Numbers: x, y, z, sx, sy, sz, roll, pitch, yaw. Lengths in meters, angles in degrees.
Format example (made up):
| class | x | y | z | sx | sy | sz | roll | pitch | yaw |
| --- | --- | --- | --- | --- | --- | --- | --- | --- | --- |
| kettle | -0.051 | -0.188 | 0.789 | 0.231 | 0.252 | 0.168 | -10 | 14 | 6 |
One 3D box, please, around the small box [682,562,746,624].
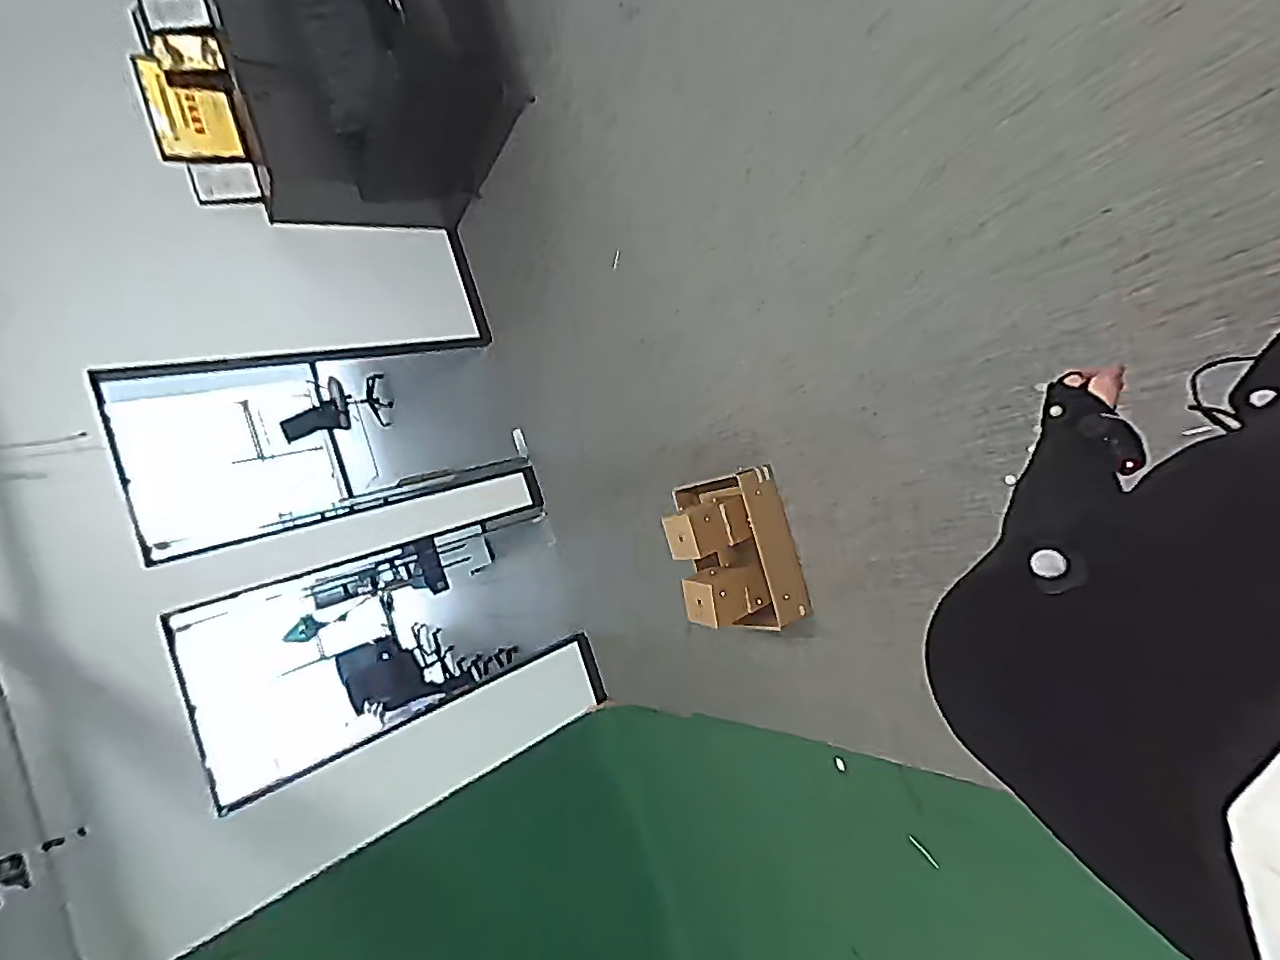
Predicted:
| class | x | y | z | sx | sy | sz | roll | pitch | yaw |
| --- | --- | --- | --- | --- | --- | --- | --- | --- | --- |
| small box | 0.288 | 0.430 | 2.092 | 0.168 | 0.176 | 0.179 | 1 | 103 | 53 |
